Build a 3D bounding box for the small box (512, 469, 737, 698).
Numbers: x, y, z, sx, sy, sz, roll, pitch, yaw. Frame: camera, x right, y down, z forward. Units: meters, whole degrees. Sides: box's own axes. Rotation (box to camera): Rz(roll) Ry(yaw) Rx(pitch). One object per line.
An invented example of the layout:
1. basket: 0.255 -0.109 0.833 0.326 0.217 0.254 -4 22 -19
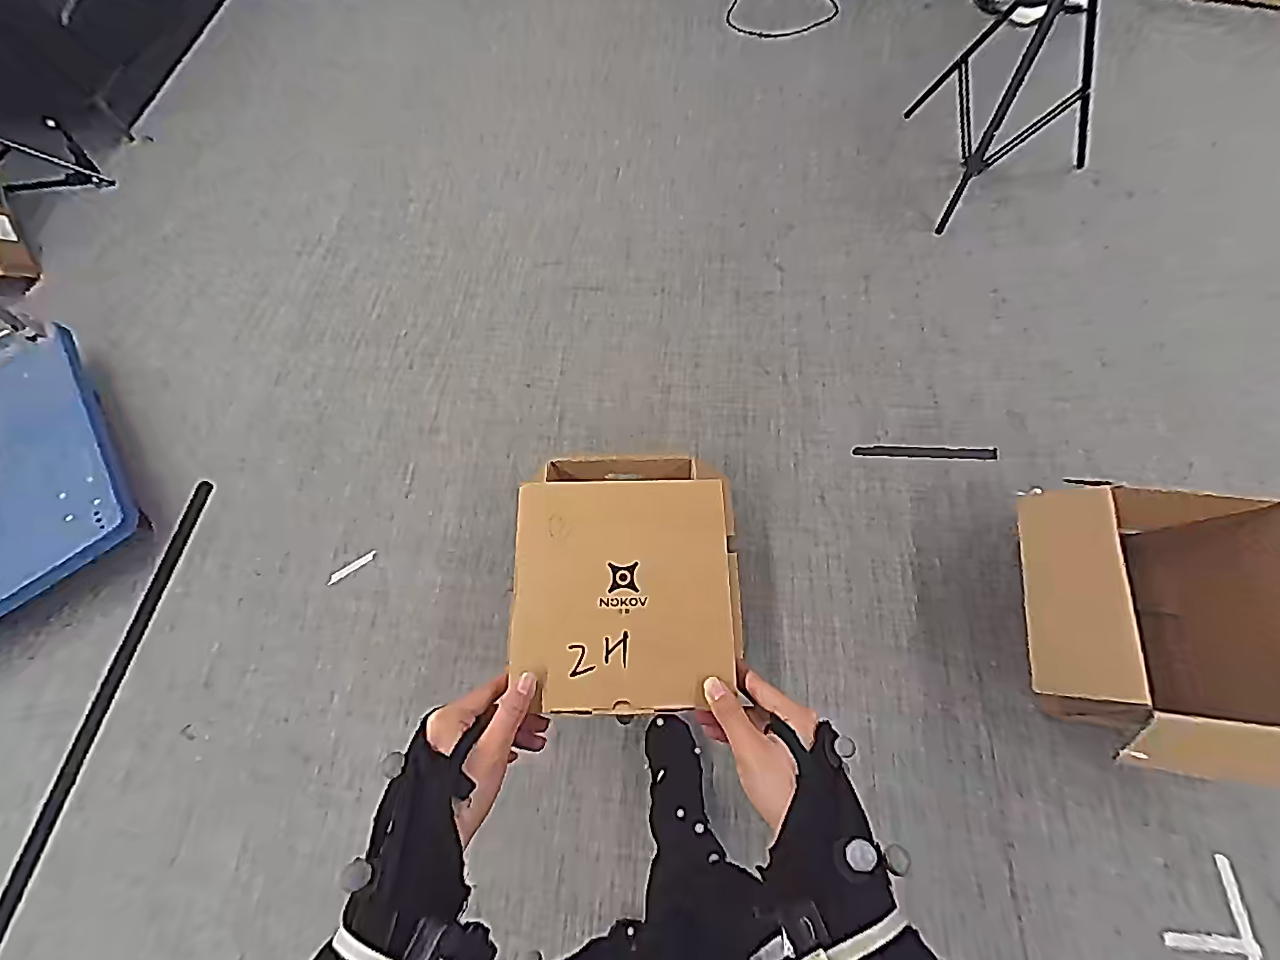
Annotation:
1. small box: -0.013 0.100 0.490 0.168 0.176 0.179 -1 71 0
